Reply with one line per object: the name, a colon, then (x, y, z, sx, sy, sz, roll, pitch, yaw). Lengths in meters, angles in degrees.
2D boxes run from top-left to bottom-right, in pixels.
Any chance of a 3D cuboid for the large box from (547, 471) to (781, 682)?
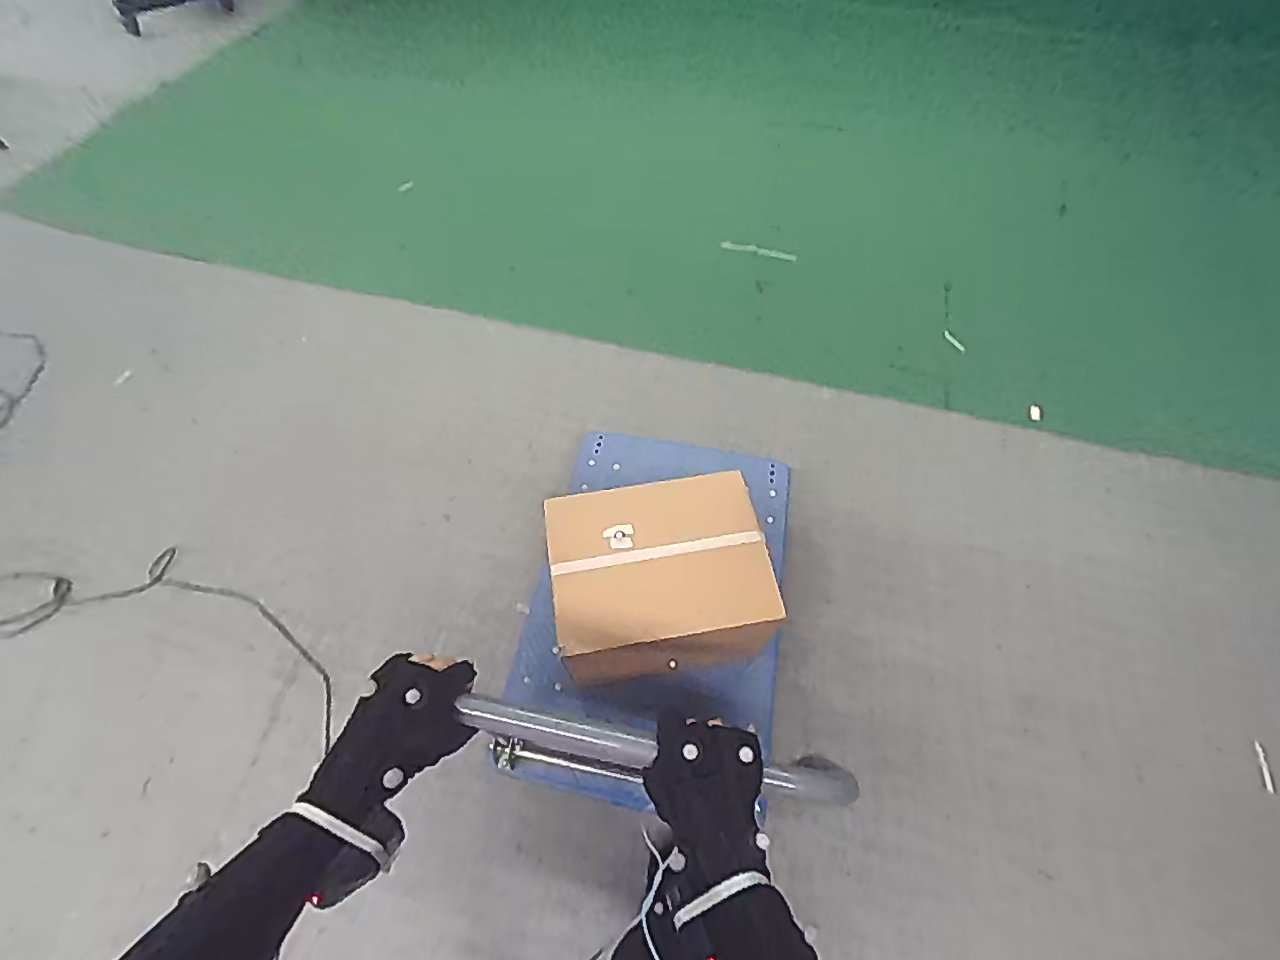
large box: (0.037, 0.218, 1.158, 0.408, 0.320, 0.320, -9, 59, -4)
